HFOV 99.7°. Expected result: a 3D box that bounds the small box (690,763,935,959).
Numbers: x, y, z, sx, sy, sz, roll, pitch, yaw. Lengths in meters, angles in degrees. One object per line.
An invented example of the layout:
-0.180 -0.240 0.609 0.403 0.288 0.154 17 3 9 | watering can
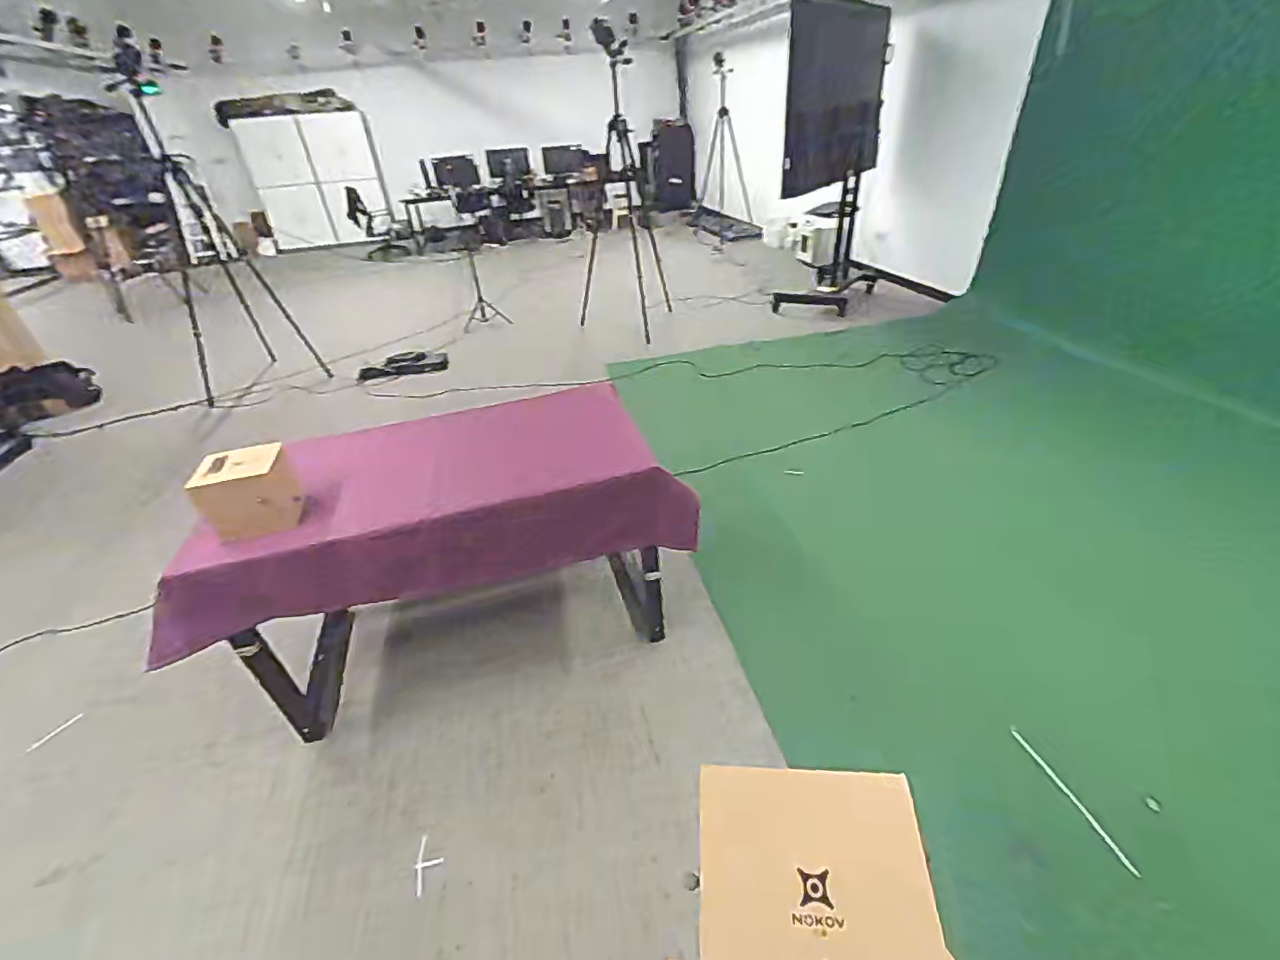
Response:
0.128 0.354 0.447 0.168 0.176 0.179 -3 49 8 | small box
